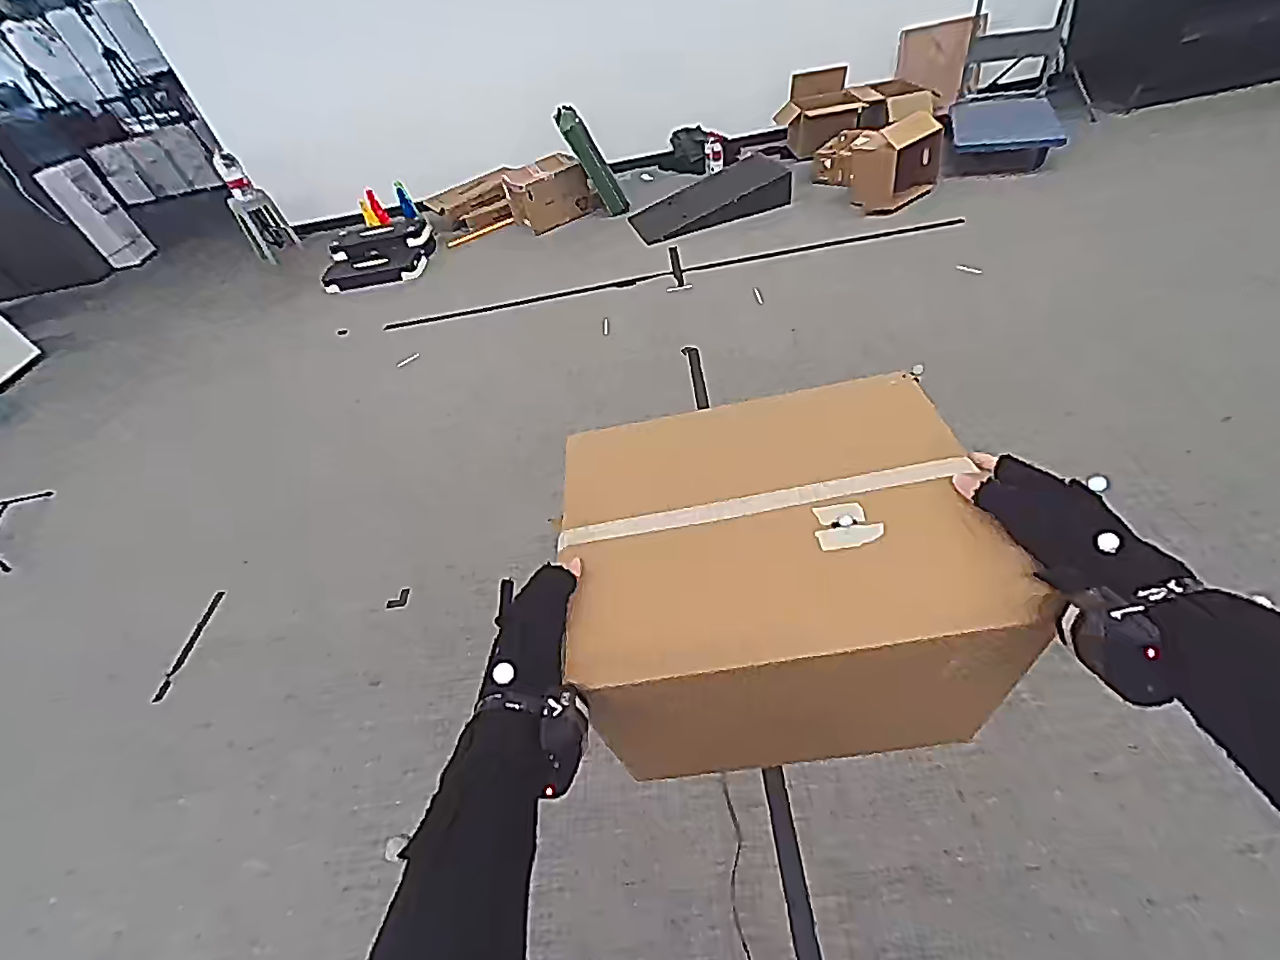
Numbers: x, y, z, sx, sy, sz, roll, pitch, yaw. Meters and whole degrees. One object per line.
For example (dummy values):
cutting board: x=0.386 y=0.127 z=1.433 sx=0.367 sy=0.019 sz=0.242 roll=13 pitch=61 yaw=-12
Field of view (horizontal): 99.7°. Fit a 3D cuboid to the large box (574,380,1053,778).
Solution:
large box: x=0.152 y=0.128 z=0.653 sx=0.408 sy=0.320 sz=0.320 roll=-10 pitch=48 yaw=5
